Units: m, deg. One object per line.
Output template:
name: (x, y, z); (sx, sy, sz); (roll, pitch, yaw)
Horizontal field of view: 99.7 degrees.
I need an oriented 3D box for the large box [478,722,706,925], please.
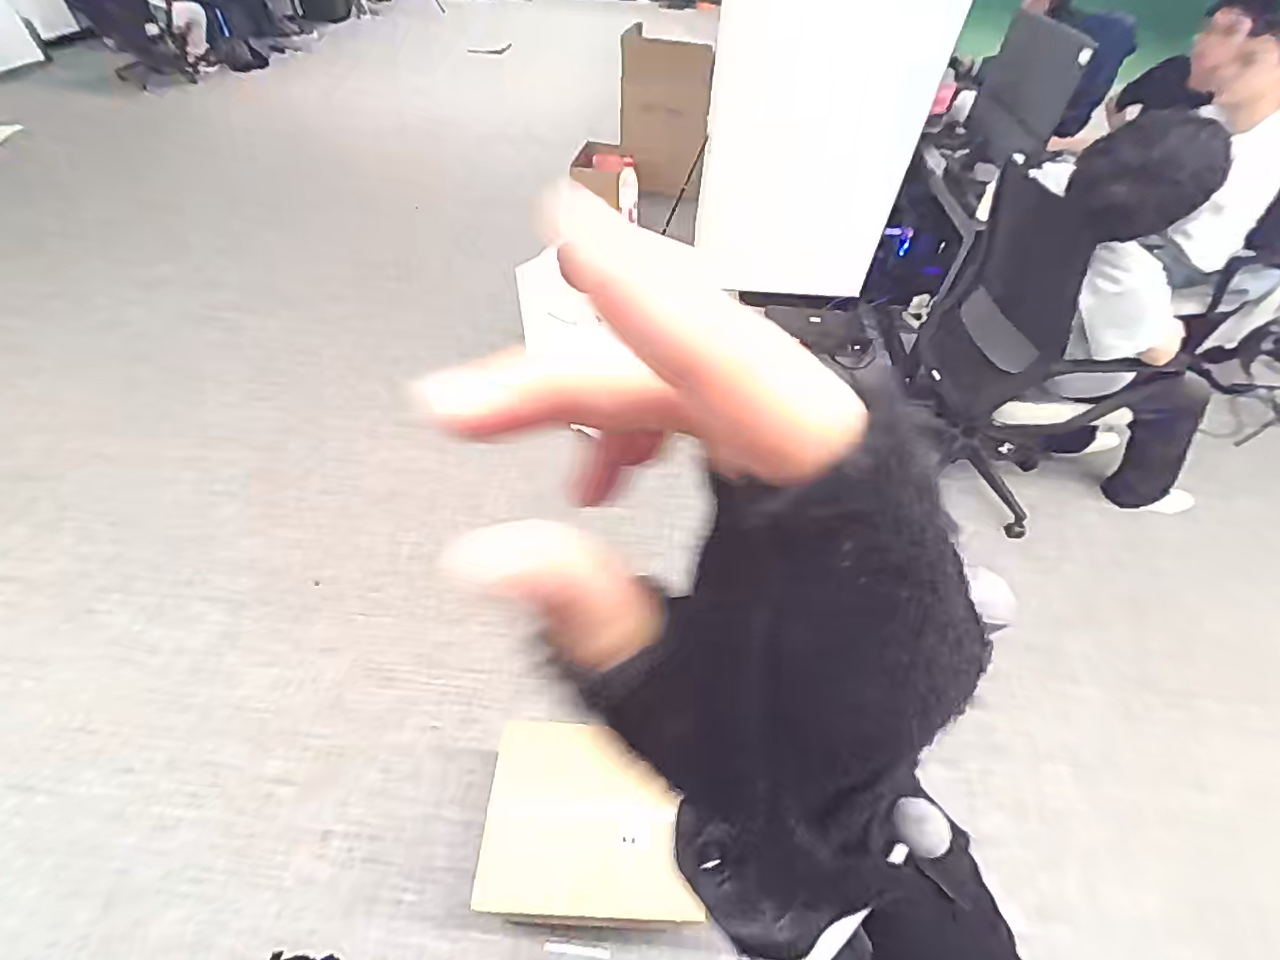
large box: (-0.089, 0.728, 1.138); (0.408, 0.320, 0.320); (3, 49, -1)
